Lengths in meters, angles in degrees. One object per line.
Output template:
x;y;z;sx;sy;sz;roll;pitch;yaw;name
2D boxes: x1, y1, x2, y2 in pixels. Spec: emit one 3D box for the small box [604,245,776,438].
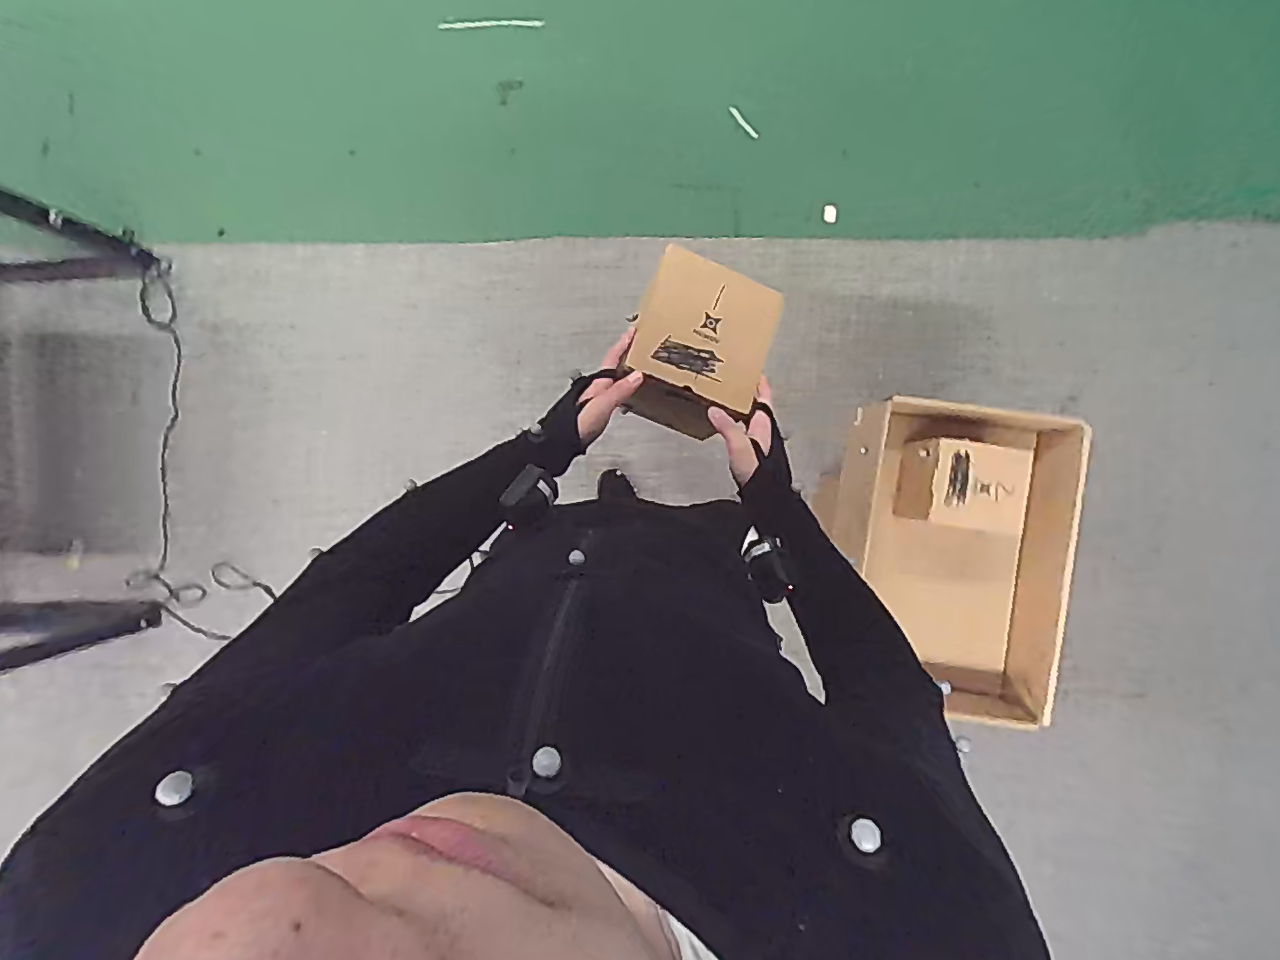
0.057;-0.174;0.741;0.168;0.176;0.179;20;79;-10;small box
